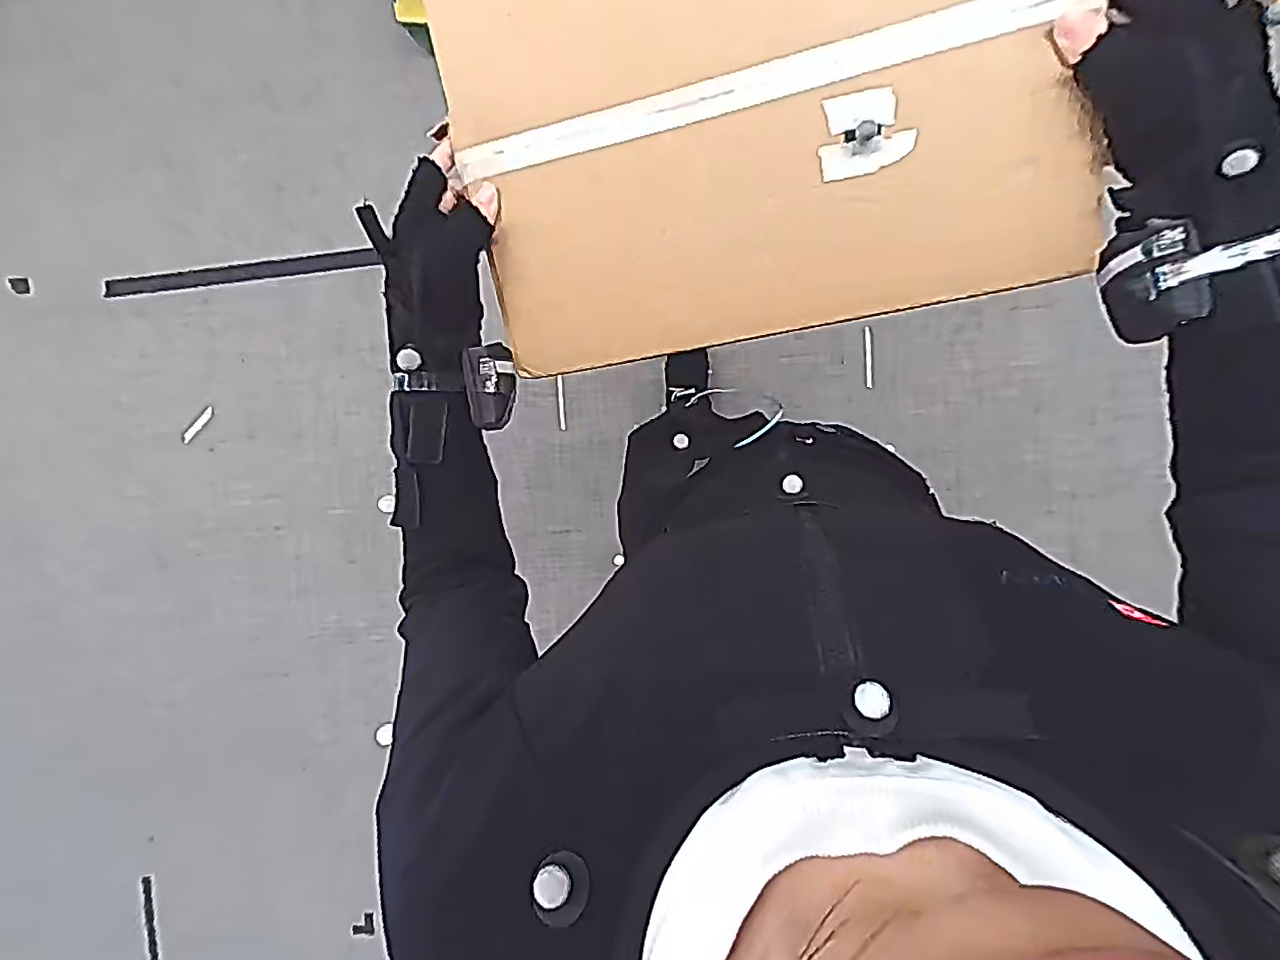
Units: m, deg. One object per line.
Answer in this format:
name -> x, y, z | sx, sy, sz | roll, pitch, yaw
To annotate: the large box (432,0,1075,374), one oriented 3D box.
large box -> 0.089, -0.303, 0.506 | 0.408, 0.320, 0.320 | -9, 106, 10
